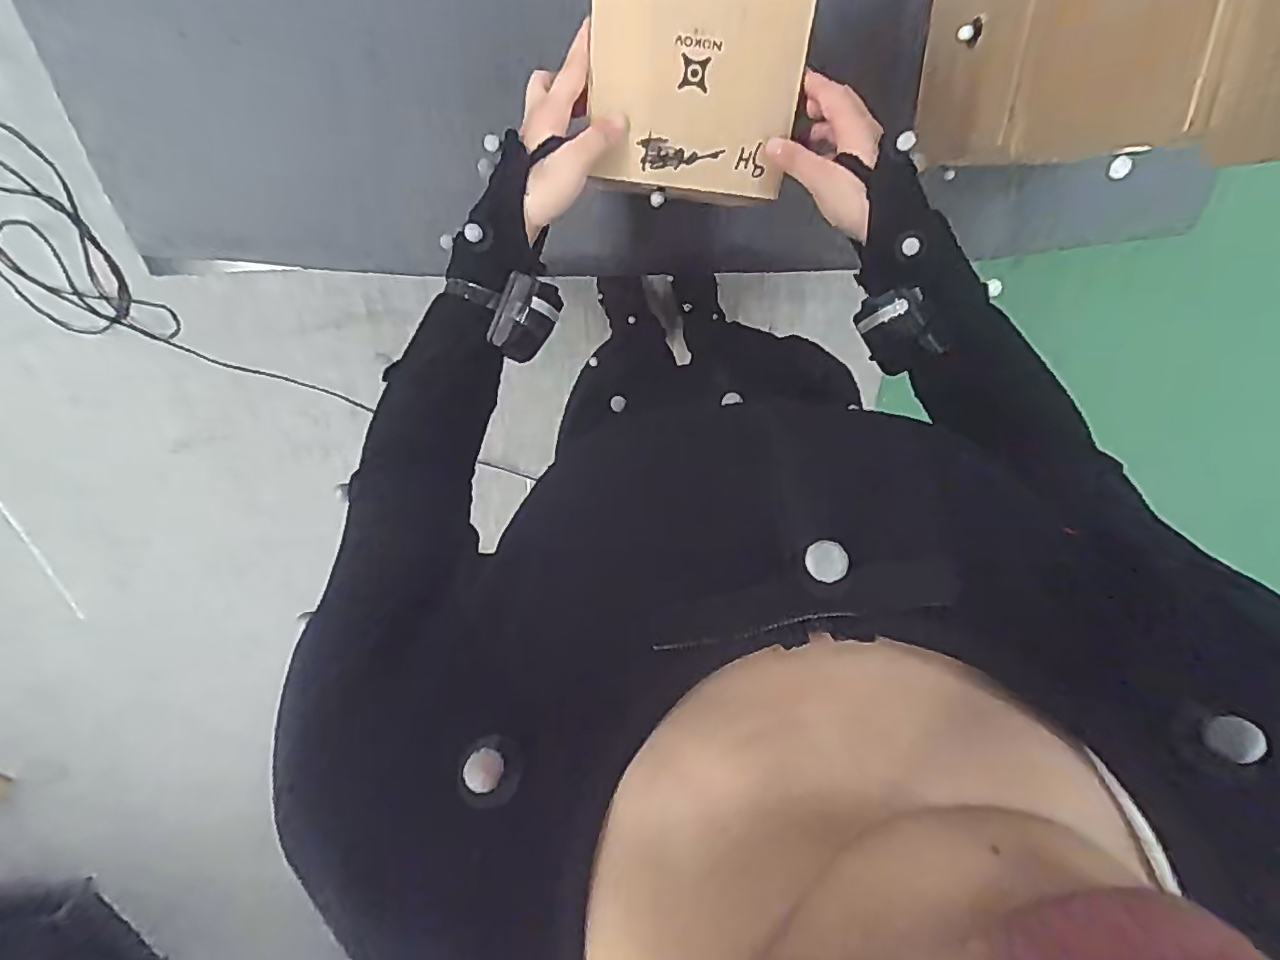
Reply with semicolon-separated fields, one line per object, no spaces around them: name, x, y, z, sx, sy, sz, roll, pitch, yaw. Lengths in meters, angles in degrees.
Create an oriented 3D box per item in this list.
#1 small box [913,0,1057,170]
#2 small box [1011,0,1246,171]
small box;0.368;-0.379;0.478;0.168;0.176;0.179;-2;115;0
small box;0.372;-0.303;0.334;0.168;0.176;0.179;-5;117;2
